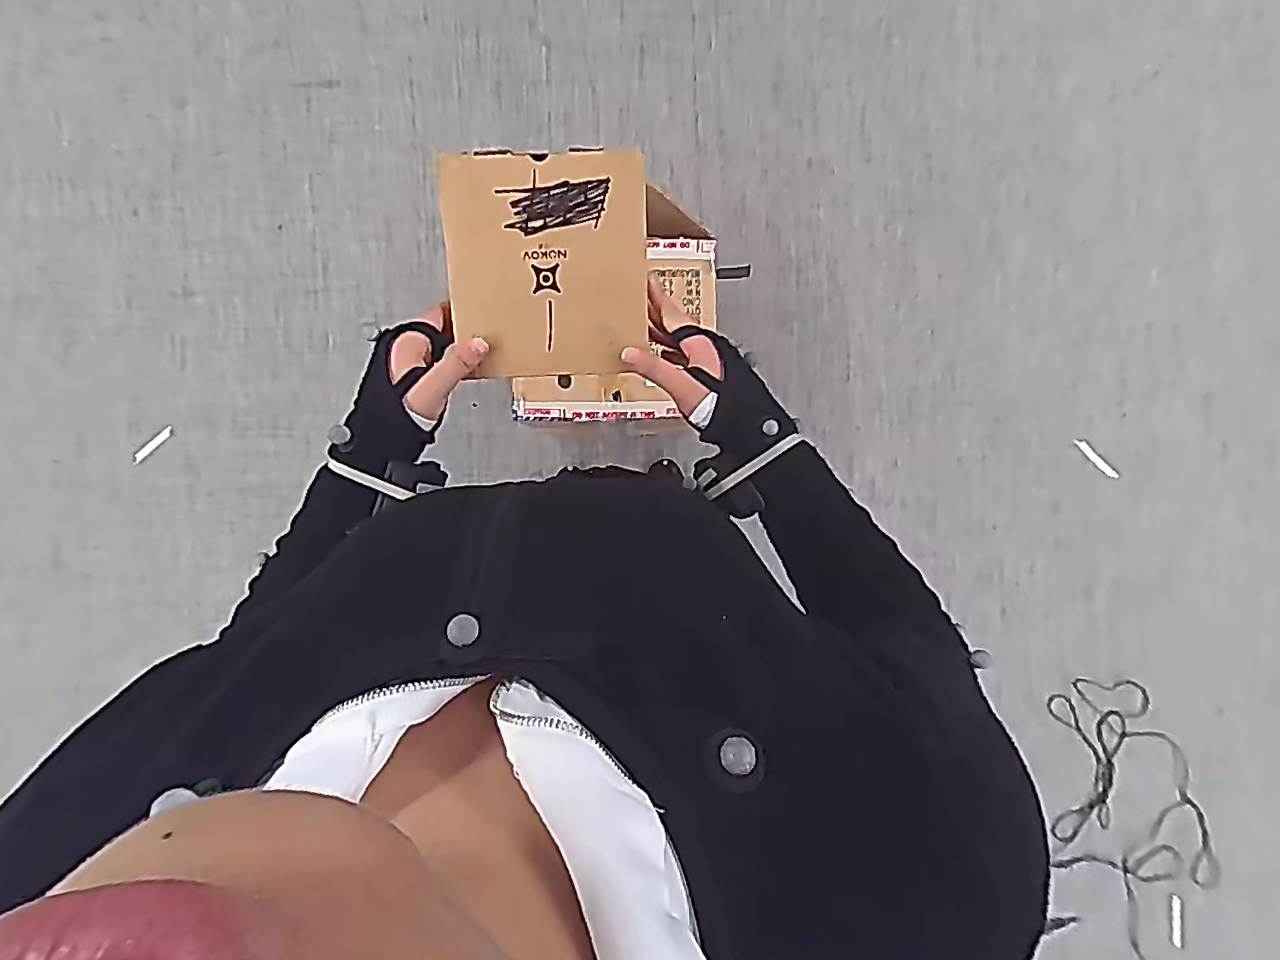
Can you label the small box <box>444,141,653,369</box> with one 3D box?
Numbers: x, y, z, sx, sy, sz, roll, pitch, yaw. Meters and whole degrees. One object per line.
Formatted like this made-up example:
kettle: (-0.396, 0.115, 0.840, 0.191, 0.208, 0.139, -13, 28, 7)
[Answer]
small box: (-0.074, -0.198, 0.522, 0.168, 0.176, 0.179, -2, 103, 0)
